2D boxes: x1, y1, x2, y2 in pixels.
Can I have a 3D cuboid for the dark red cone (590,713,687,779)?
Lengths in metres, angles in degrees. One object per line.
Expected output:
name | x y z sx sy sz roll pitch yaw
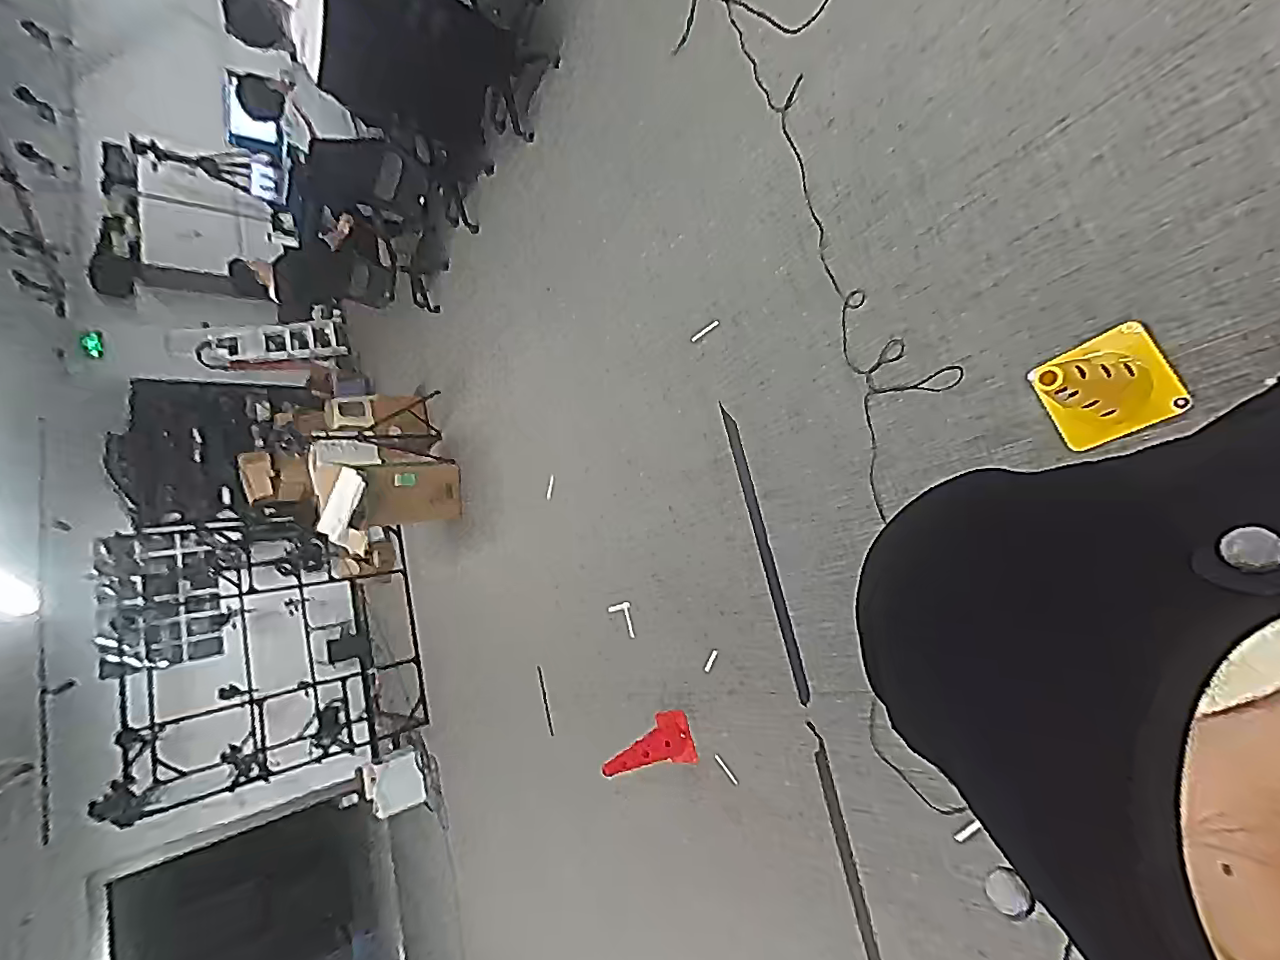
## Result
dark red cone | -0.018 1.055 2.074 0.201 0.394 0.202 -36 66 46
